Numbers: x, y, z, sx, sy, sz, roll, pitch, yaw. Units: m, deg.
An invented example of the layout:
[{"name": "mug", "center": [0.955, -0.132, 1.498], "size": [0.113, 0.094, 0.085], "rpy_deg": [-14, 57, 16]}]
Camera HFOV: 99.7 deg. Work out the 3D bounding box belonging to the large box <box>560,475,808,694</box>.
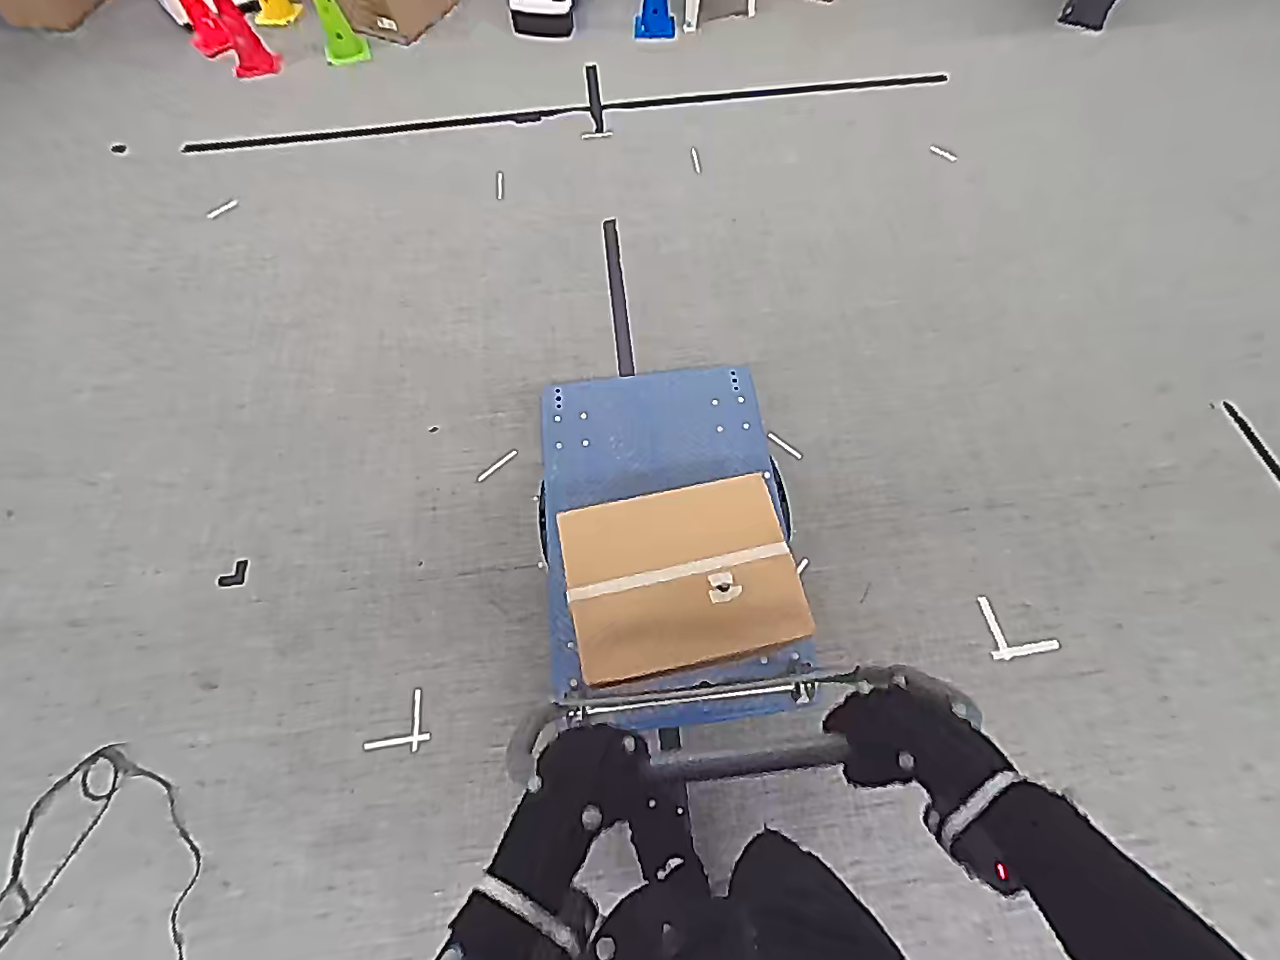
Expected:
[{"name": "large box", "center": [0.070, 0.229, 1.123], "size": [0.408, 0.320, 0.320], "rpy_deg": [-11, 66, -6]}]
